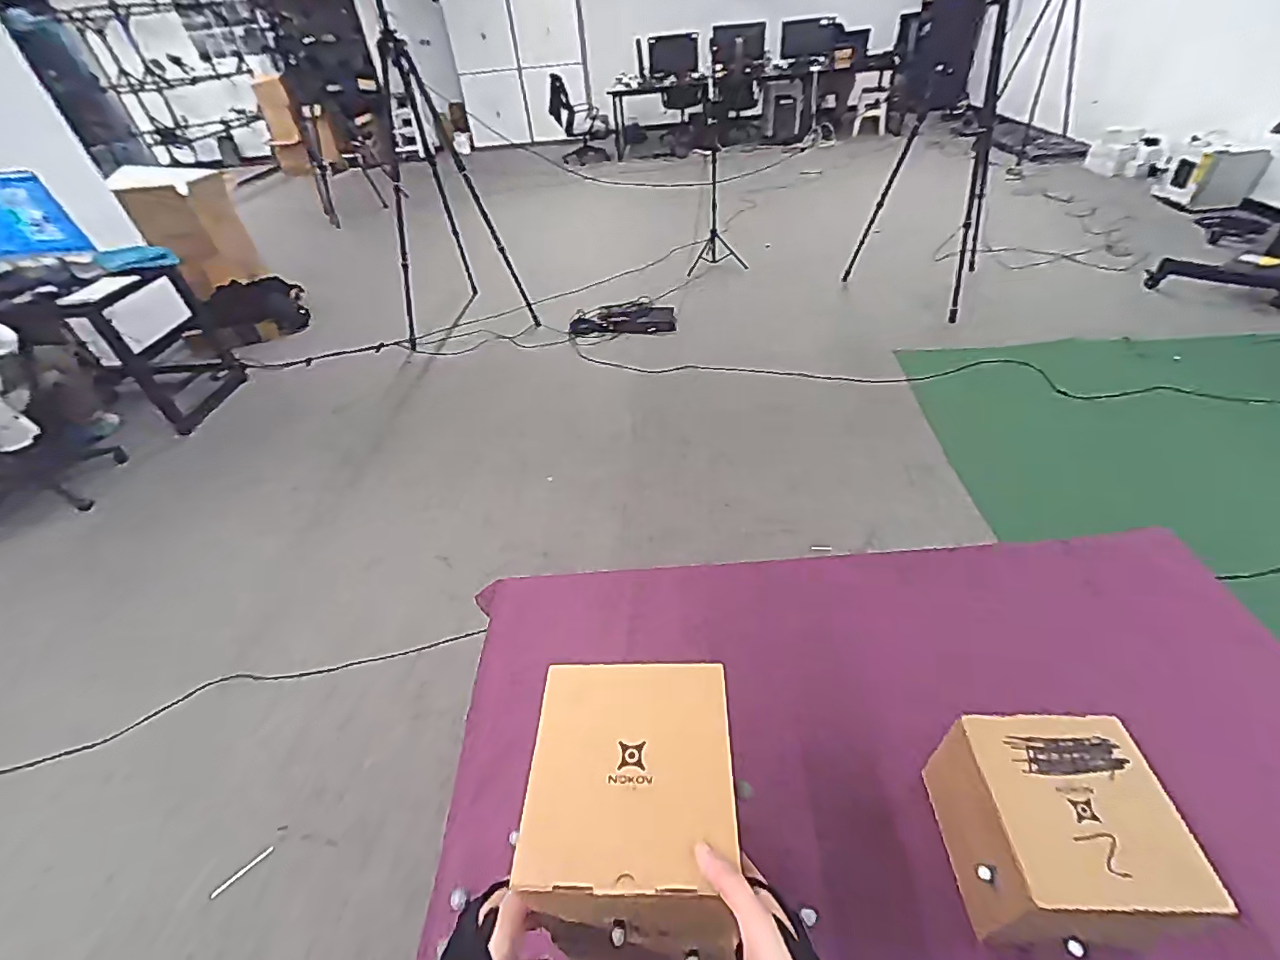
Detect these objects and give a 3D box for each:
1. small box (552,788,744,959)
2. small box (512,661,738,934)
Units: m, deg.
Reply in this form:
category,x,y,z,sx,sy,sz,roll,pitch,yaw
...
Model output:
category,x,y,z,sx,sy,sz,roll,pitch,yaw
small box,0.015,0.416,0.596,0.179,0.176,0.168,-4,41,5
small box,-0.003,0.288,0.497,0.168,0.176,0.179,-3,42,5
